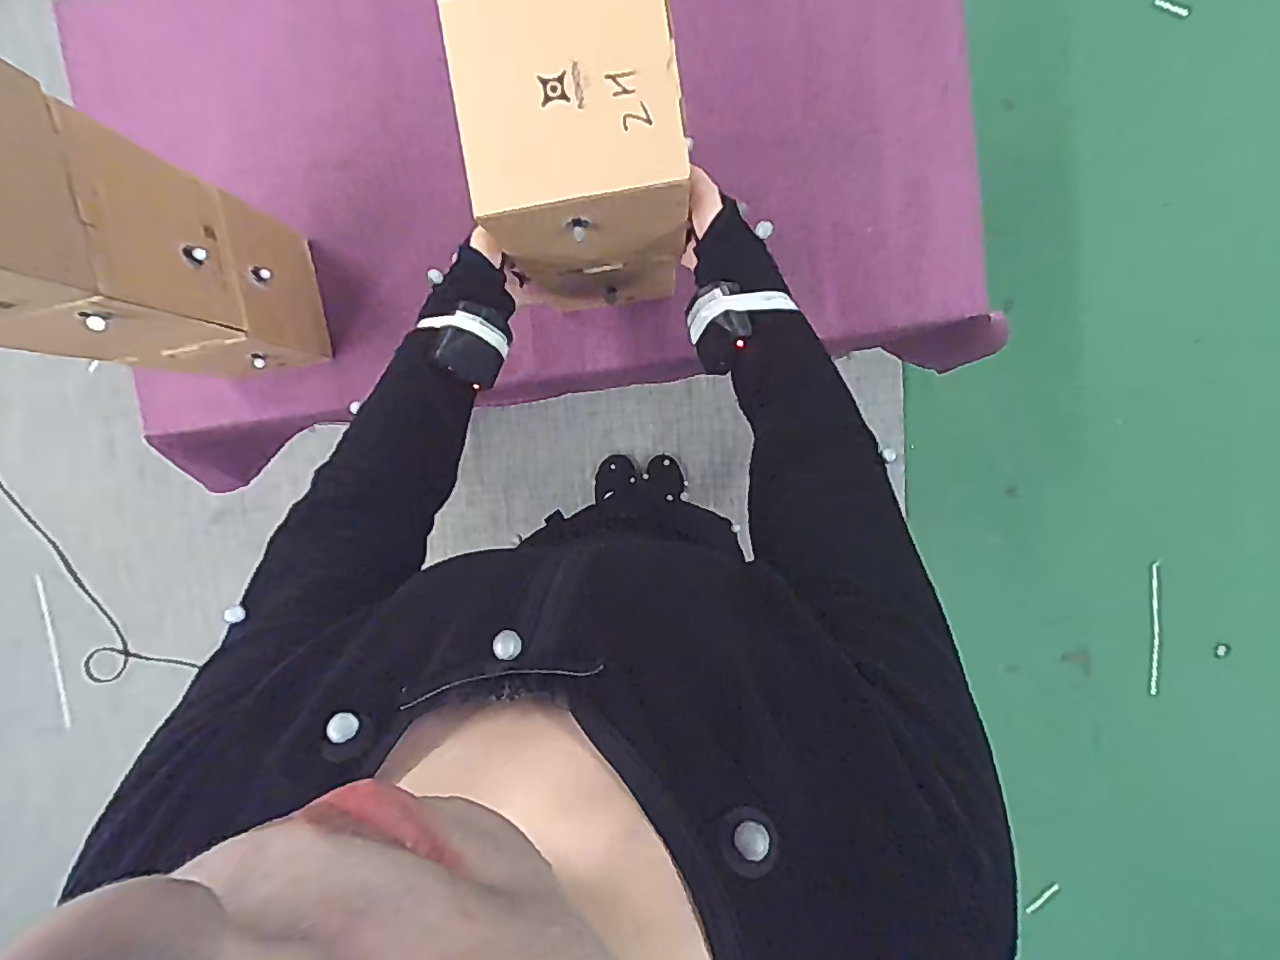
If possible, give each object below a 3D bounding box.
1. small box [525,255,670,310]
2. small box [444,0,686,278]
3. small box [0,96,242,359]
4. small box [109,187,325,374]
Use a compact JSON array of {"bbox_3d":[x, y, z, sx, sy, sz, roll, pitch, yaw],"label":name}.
[{"bbox_3d":[-0.052,-0.315,0.665,0.168,0.176,0.179,-7,95,2],"label":"small box"},{"bbox_3d":[-0.054,-0.300,0.500,0.179,0.176,0.168,-8,95,2],"label":"small box"},{"bbox_3d":[-0.543,-0.222,0.525,0.179,0.176,0.168,-11,95,1],"label":"small box"},{"bbox_3d":[-0.535,-0.235,0.686,0.168,0.176,0.179,-9,94,1],"label":"small box"}]
